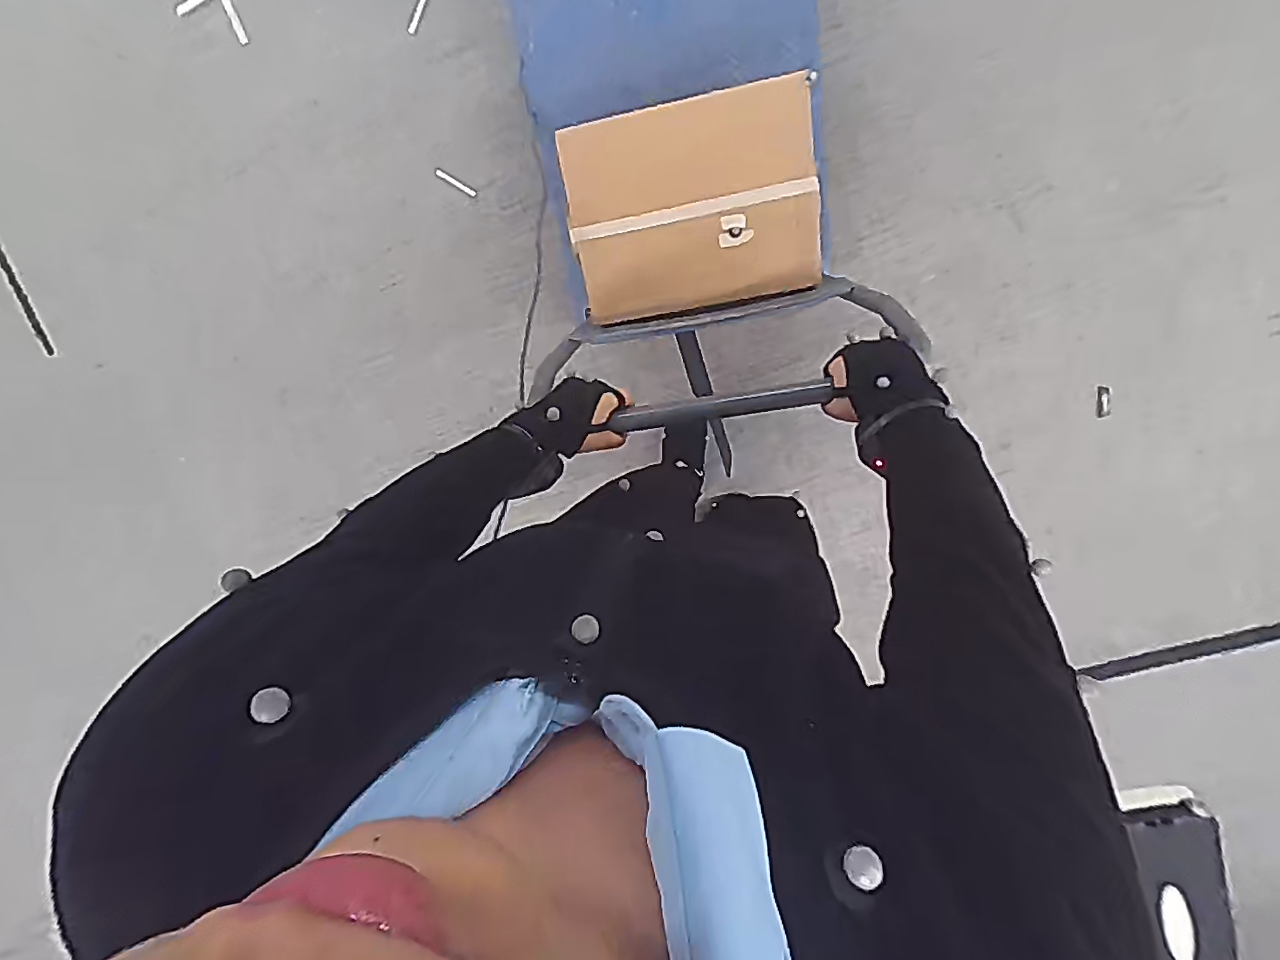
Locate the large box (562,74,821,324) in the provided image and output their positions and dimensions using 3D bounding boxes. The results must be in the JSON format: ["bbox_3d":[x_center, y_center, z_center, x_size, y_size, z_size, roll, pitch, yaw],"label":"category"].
[{"bbox_3d":[0.101,-0.510,1.053,0.408,0.320,0.320,-9,111,8],"label":"large box"}]
